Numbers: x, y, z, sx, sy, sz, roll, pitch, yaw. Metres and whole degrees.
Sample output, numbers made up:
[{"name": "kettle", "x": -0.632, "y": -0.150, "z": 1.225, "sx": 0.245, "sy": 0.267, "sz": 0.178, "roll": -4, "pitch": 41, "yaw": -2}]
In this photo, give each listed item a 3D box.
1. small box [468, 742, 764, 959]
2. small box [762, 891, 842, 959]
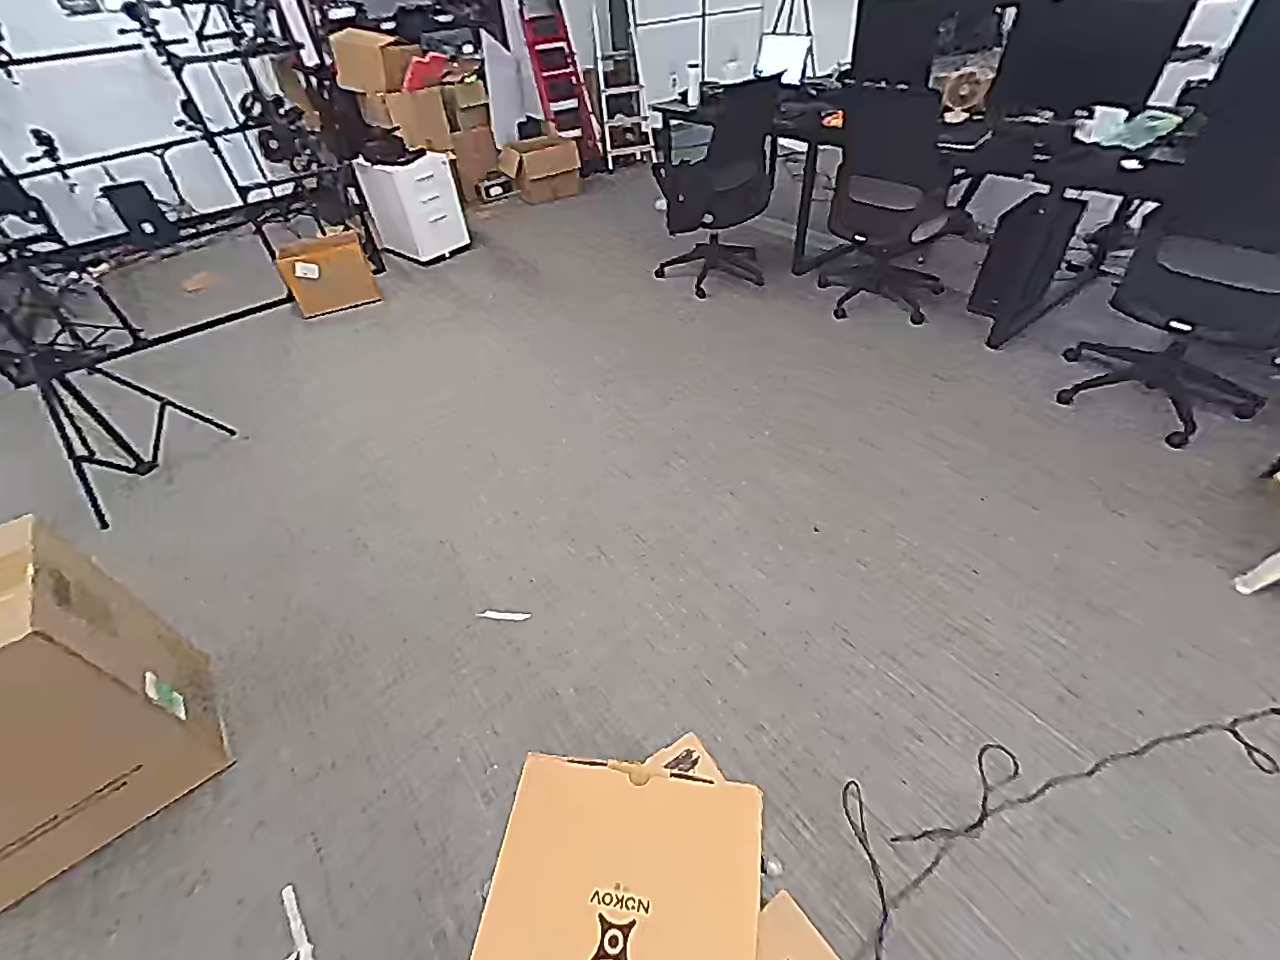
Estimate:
[{"name": "small box", "x": -0.003, "y": 0.306, "z": 0.368, "sx": 0.168, "sy": 0.176, "sz": 0.179, "roll": 2, "pitch": 47, "yaw": 10}, {"name": "small box", "x": 0.249, "y": 0.874, "z": 0.942, "sx": 0.179, "sy": 0.176, "sz": 0.168, "roll": -29, "pitch": 46, "yaw": -23}]
